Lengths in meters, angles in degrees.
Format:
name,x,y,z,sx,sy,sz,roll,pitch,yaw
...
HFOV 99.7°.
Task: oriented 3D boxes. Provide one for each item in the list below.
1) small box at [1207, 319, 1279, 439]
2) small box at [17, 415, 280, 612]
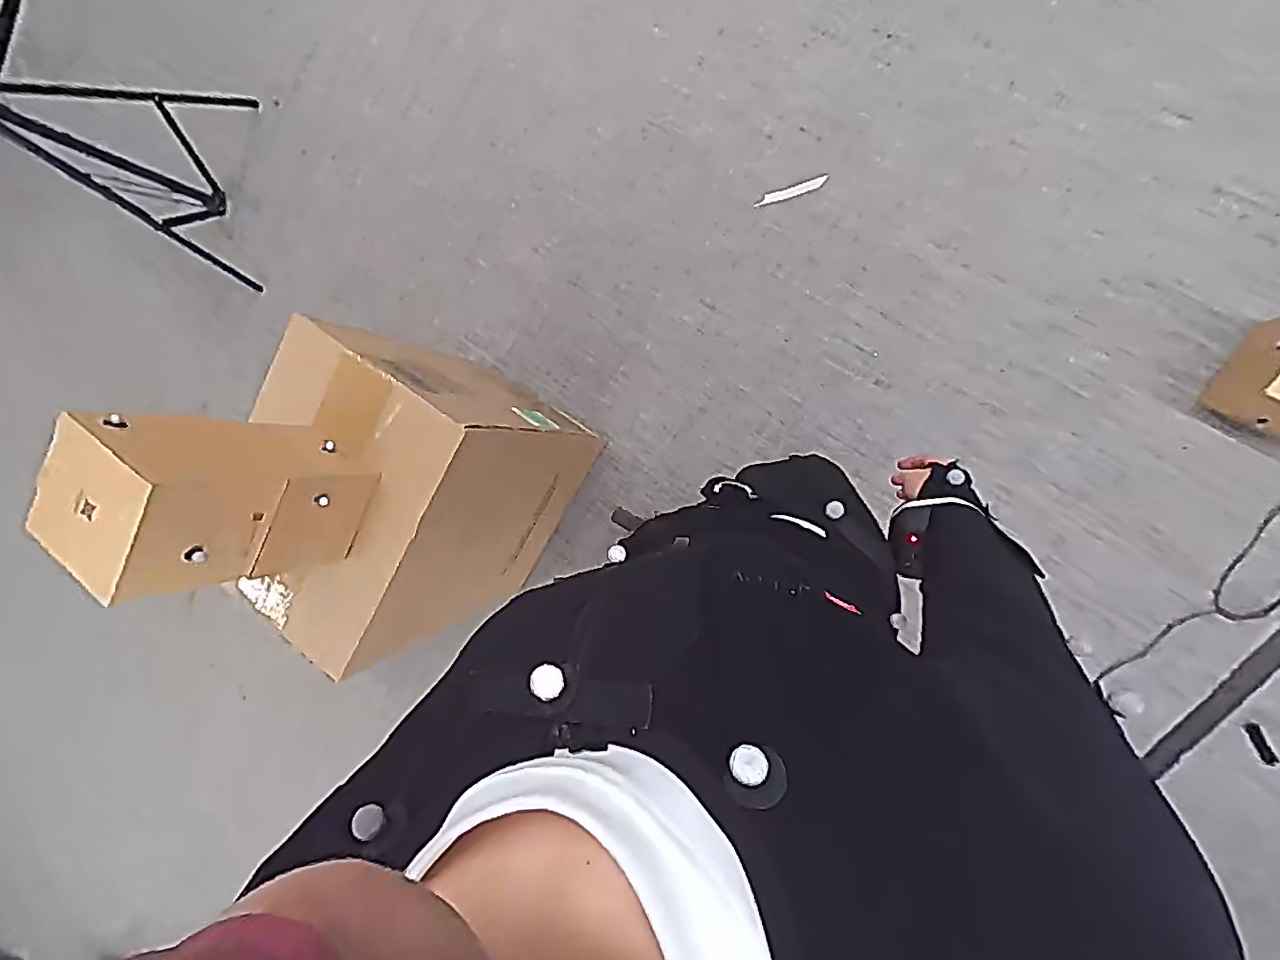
name,x,y,z,sx,sy,sz,roll,pitch,yaw
small box,1.169,-0.181,0.938,0.168,0.176,0.179,33,102,14
small box,-0.605,0.032,0.682,0.179,0.176,0.168,32,101,14
